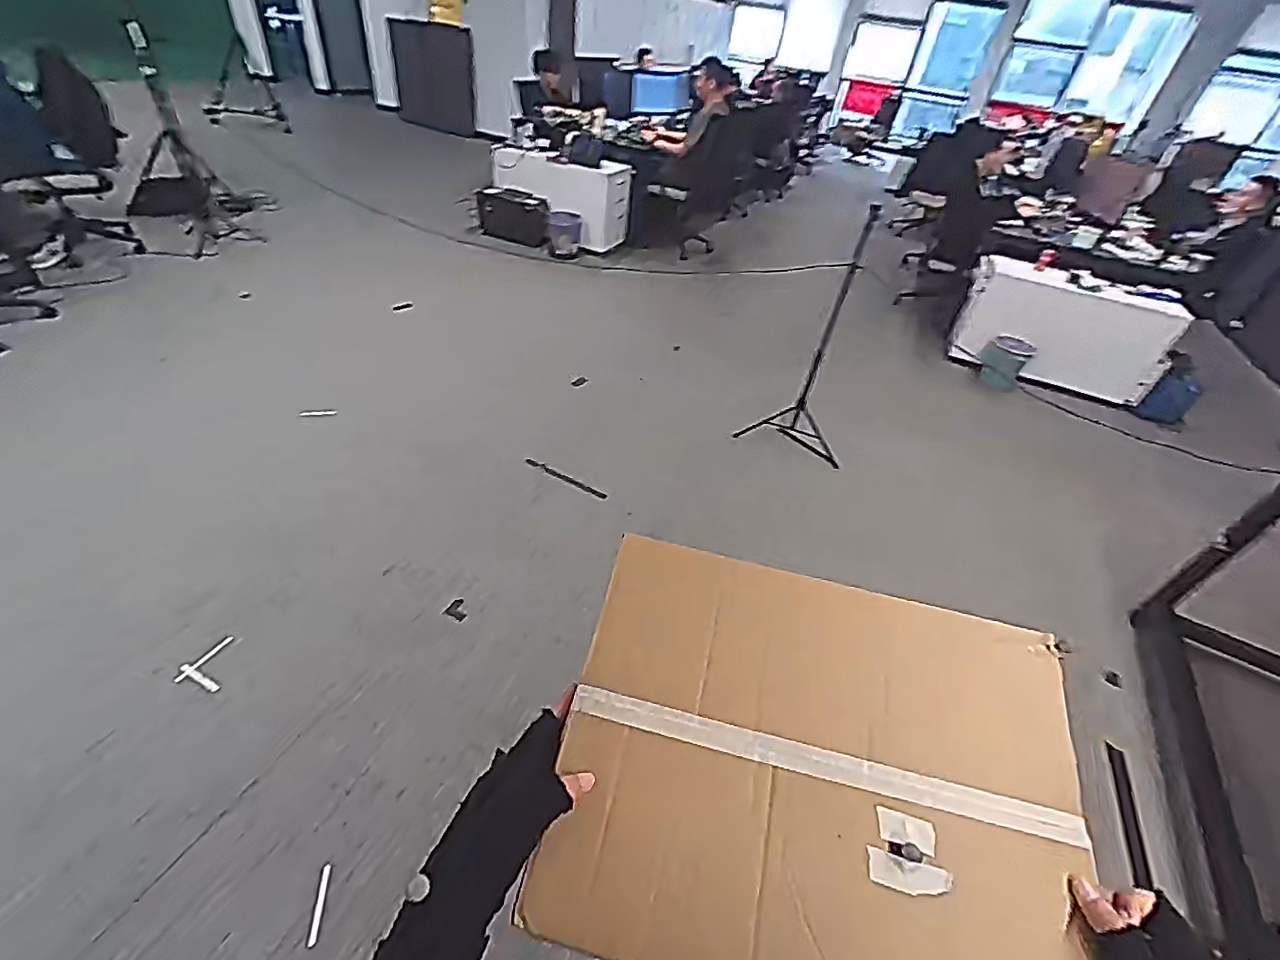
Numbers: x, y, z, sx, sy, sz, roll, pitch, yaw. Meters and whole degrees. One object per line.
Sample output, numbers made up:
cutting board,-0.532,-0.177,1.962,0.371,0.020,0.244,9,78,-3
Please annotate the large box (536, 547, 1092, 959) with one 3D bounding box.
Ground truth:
large box,0.142,0.309,0.574,0.408,0.320,0.320,13,60,6
